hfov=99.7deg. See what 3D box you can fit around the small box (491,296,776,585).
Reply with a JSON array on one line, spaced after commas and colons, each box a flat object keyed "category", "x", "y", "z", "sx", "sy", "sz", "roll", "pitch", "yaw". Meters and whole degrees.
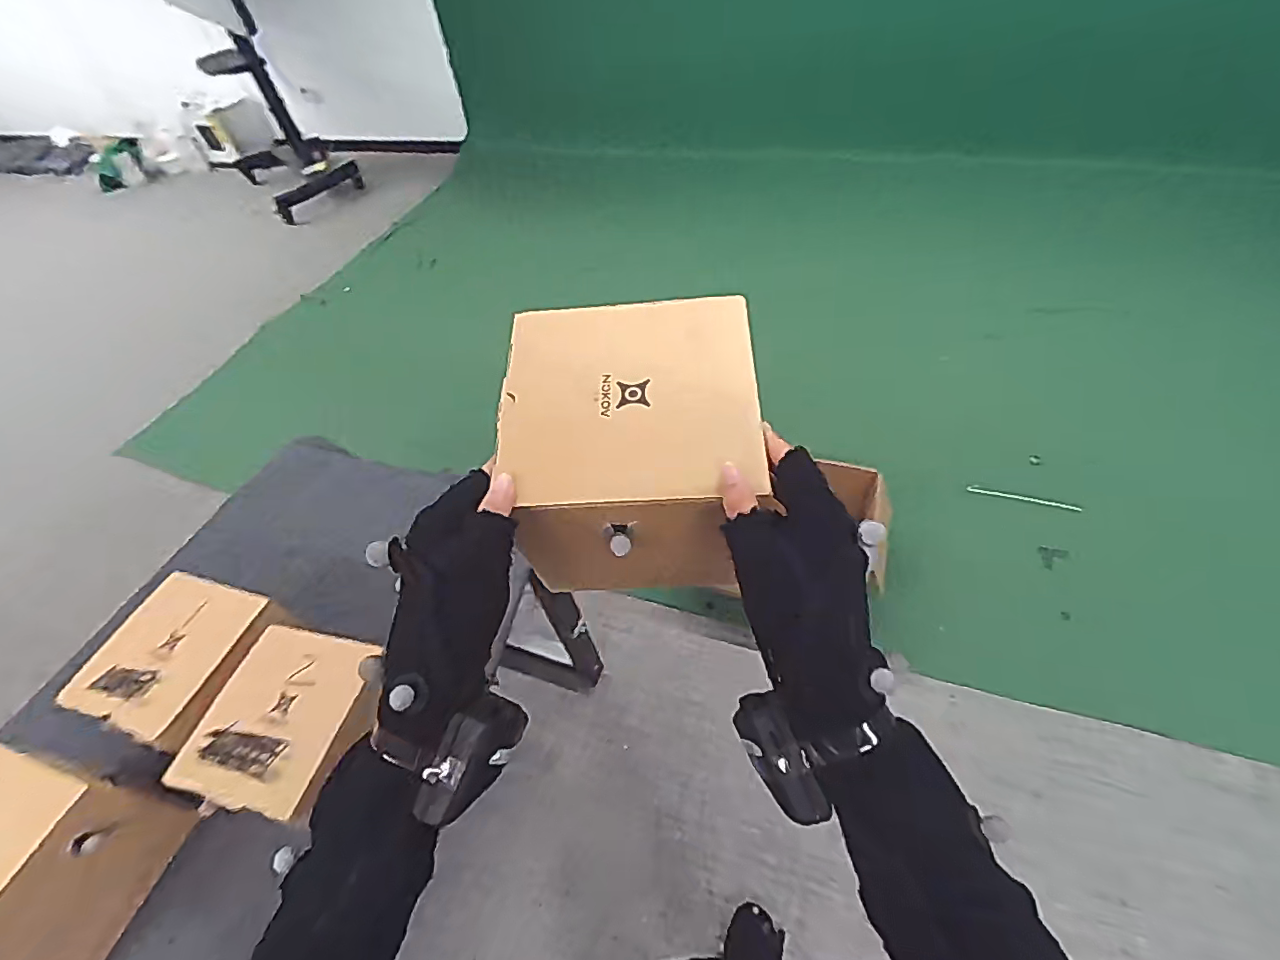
[{"category": "small box", "x": 0.003, "y": -0.020, "z": 0.433, "sx": 0.179, "sy": 0.176, "sz": 0.168, "roll": -3, "pitch": 61, "yaw": 6}]
